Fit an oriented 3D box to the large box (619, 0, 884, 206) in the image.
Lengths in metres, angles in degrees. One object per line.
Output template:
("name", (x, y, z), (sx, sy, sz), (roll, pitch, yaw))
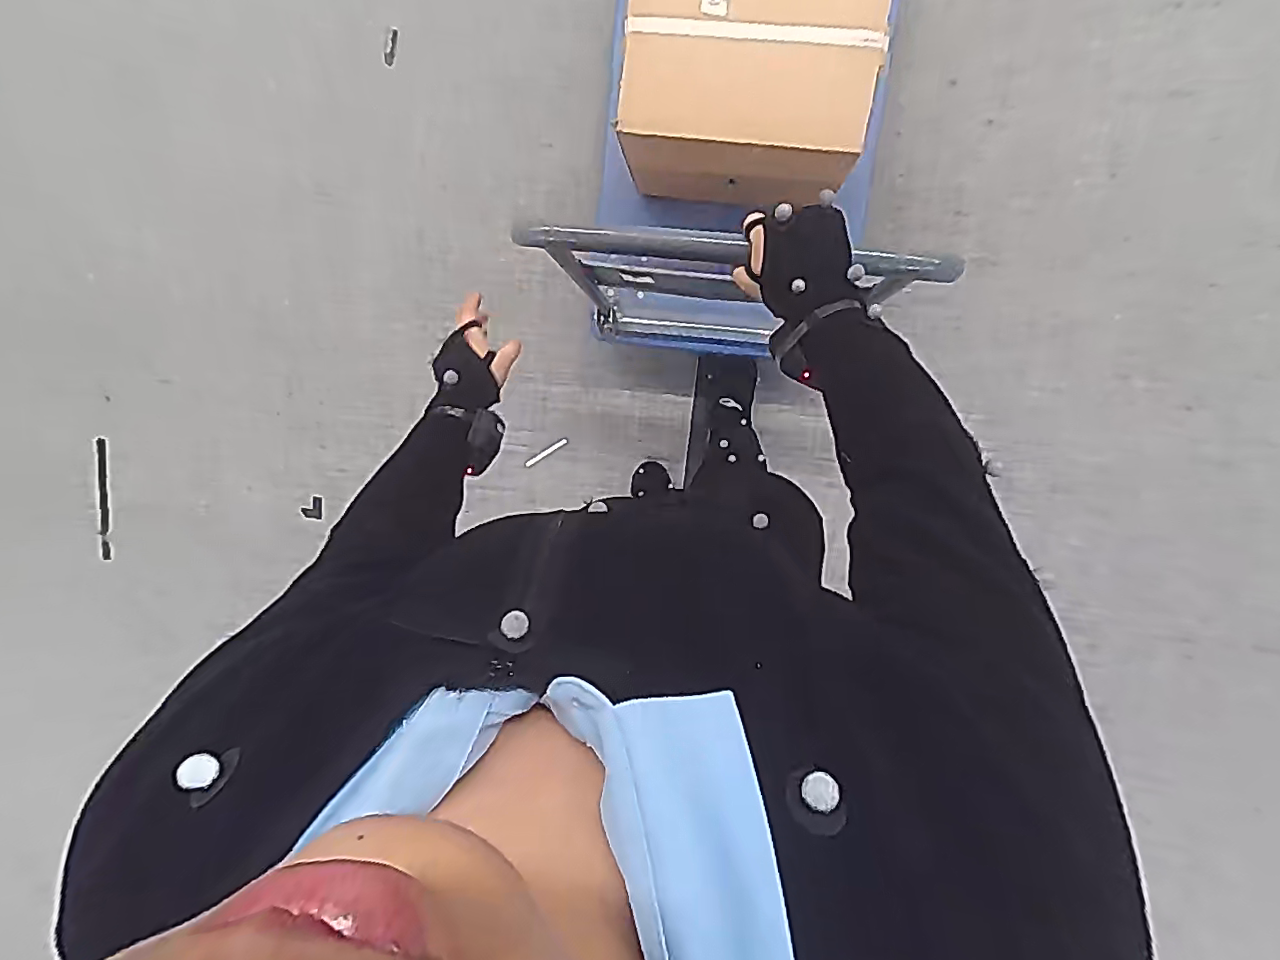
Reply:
("large box", (0.198, -0.735, 1.014), (0.408, 0.320, 0.320), (9, 100, 6))
